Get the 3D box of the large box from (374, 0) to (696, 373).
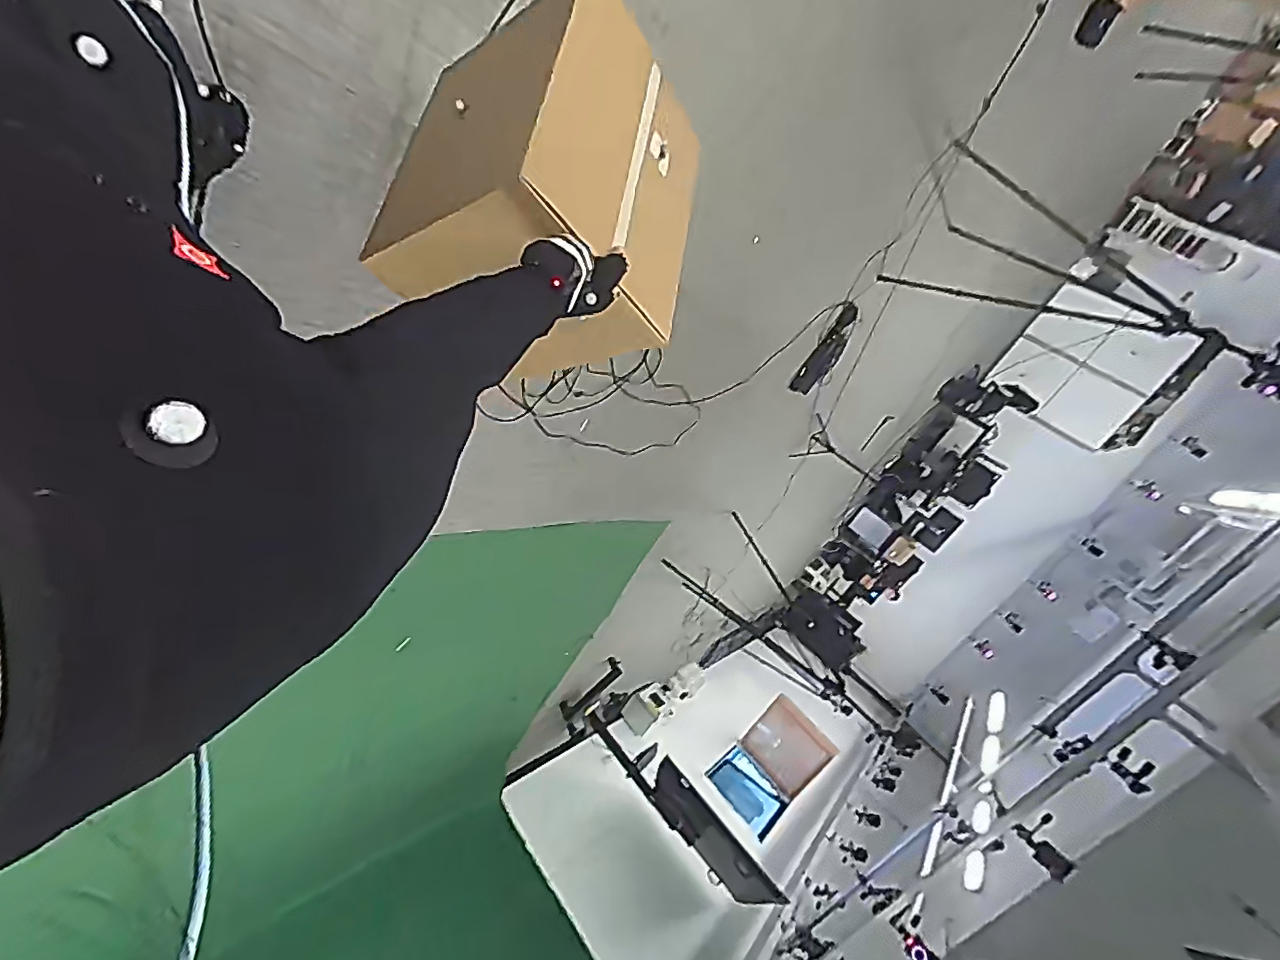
[{"bbox_3d":[-0.138,-0.432,0.833,0.320,0.320,0.408,35,58,-50],"label":"large box"}]
